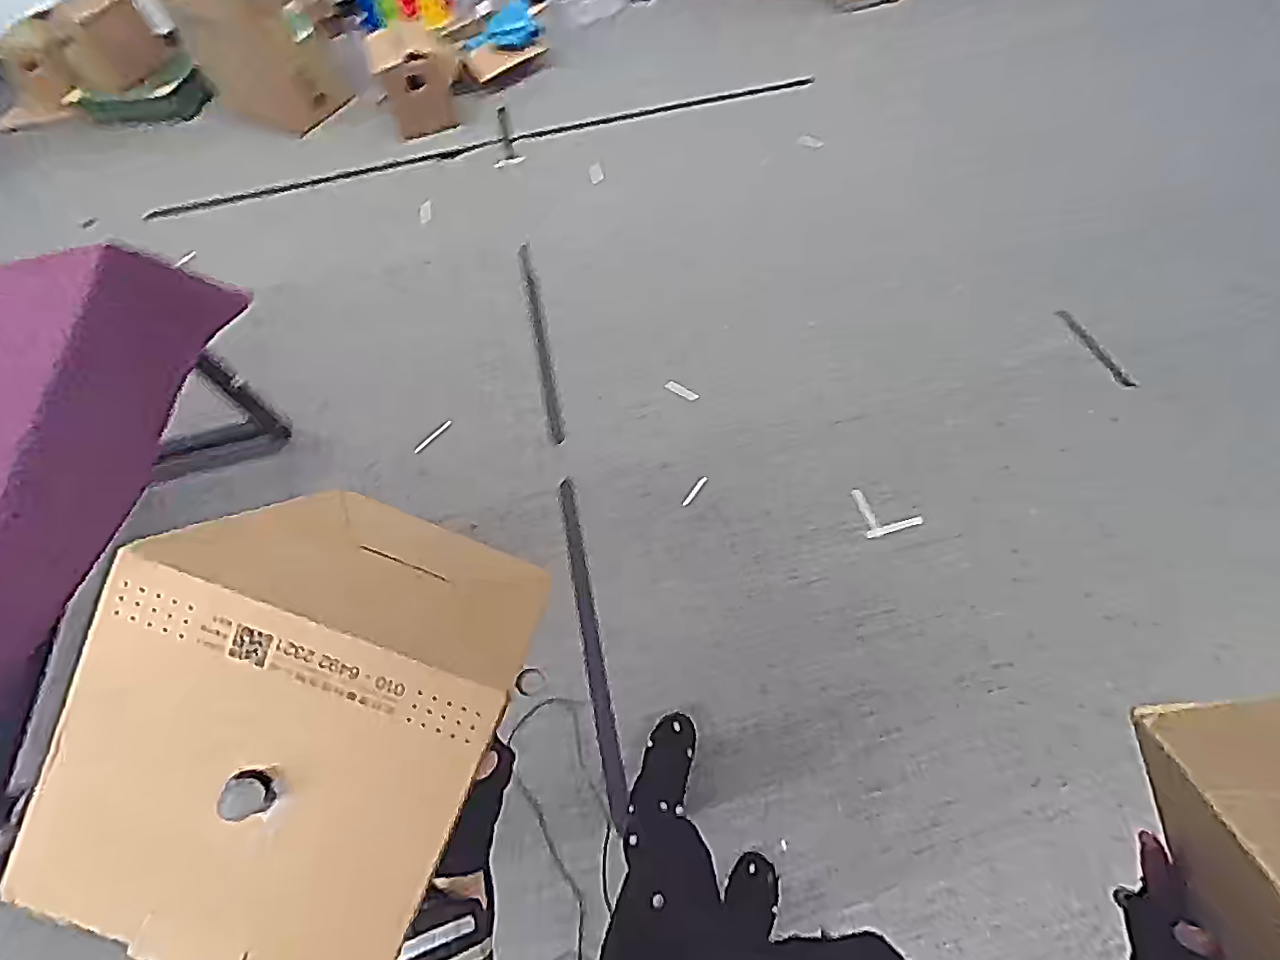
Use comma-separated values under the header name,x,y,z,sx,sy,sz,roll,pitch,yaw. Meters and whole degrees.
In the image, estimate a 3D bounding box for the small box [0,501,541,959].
name,x,y,z,sx,sy,sz,roll,pitch,yaw
small box,-0.168,0.120,0.299,0.168,0.179,0.176,23,93,-4

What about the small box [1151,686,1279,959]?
name,x,y,z,sx,sy,sz,roll,pitch,yaw
small box,0.375,0.206,0.235,0.168,0.179,0.176,-15,91,25
